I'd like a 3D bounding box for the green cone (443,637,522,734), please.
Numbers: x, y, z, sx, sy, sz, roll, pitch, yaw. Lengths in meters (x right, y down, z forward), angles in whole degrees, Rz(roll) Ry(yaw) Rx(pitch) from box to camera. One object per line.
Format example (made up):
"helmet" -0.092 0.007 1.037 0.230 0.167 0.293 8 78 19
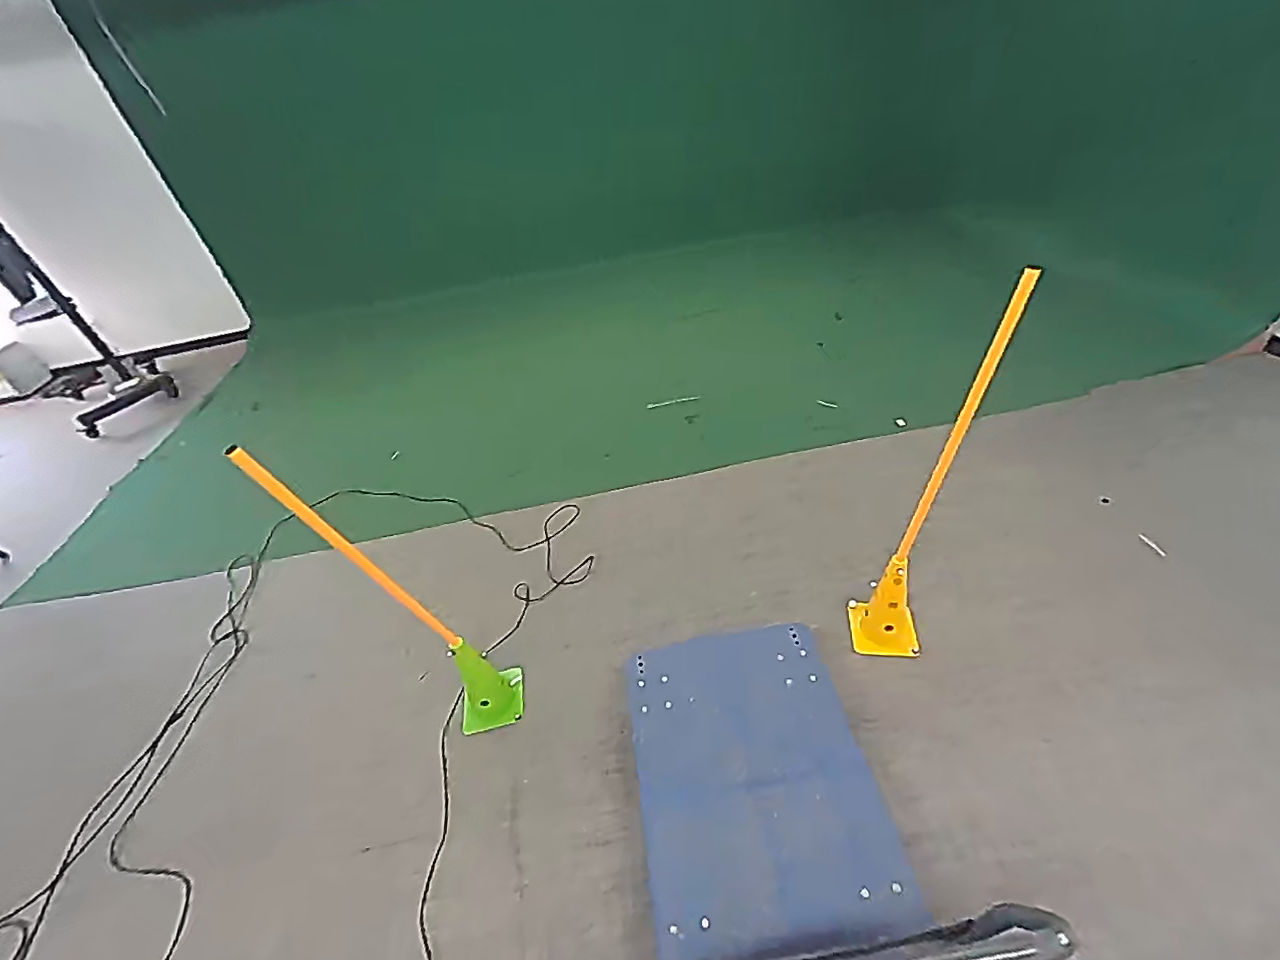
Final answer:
"green cone" -0.526 0.609 1.710 0.202 0.368 0.200 -15 40 -2
